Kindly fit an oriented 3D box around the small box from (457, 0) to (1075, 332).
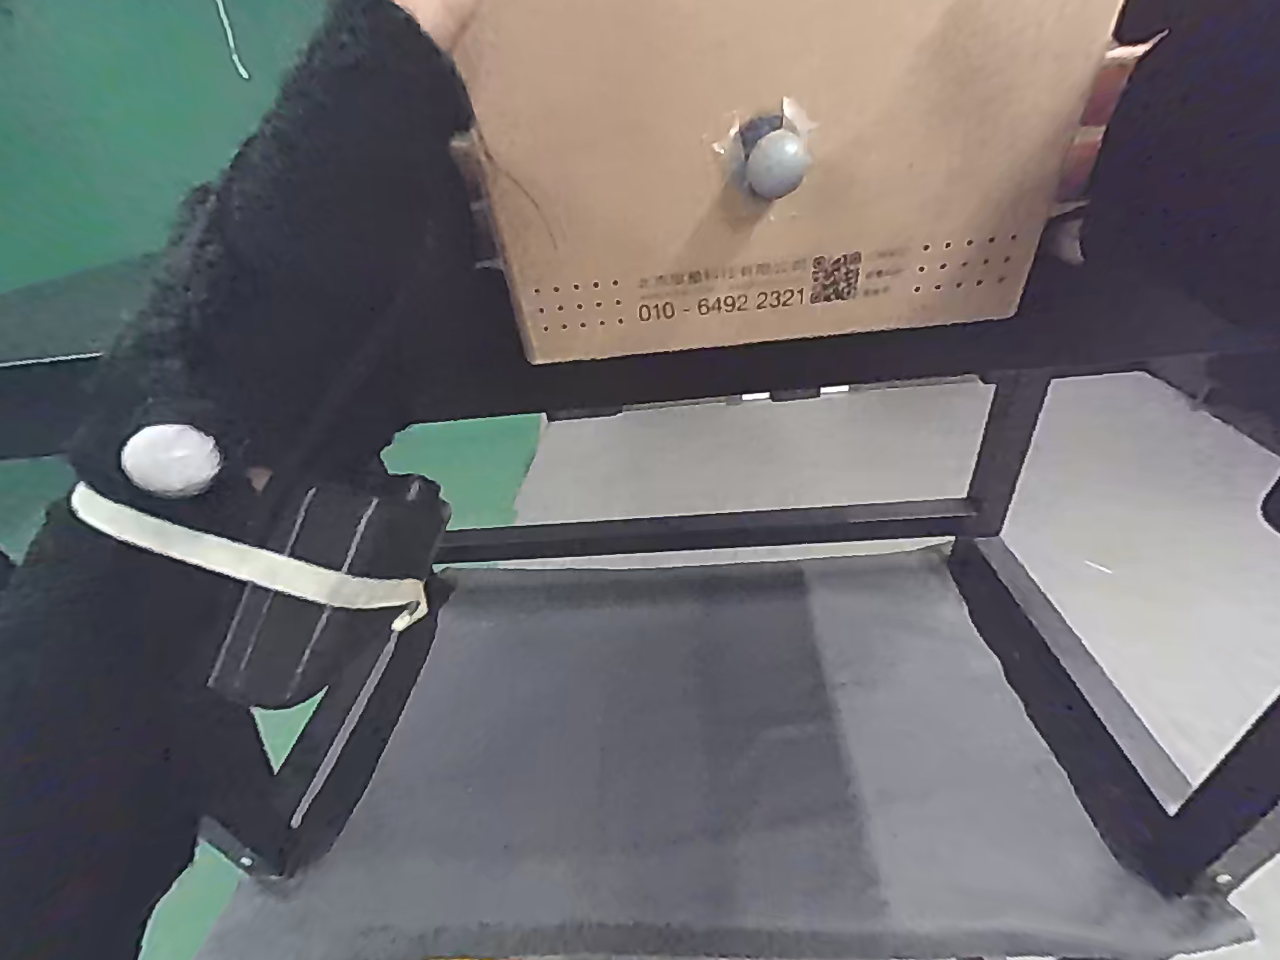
[{"bbox_3d":[0.031,-0.172,0.205,0.168,0.176,0.179,-5,38,5],"label":"small box"}]
